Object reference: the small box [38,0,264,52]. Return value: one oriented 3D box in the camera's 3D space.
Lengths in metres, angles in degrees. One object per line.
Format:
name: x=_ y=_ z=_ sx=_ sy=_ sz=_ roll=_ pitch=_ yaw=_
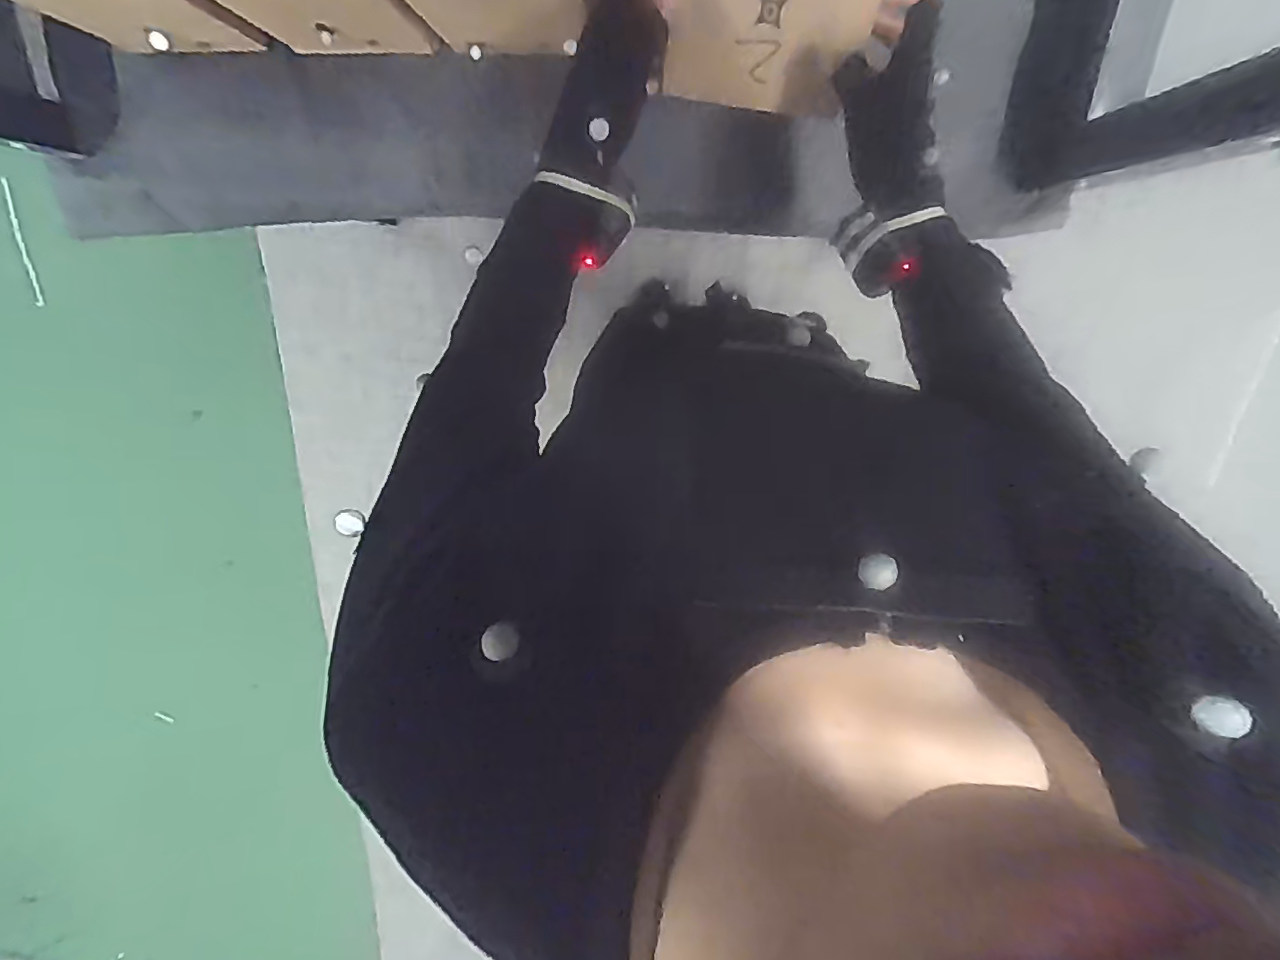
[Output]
small box: x=-0.500 y=-0.539 z=0.504 sx=0.168 sy=0.176 sz=0.179 roll=2 pitch=110 yaw=4
